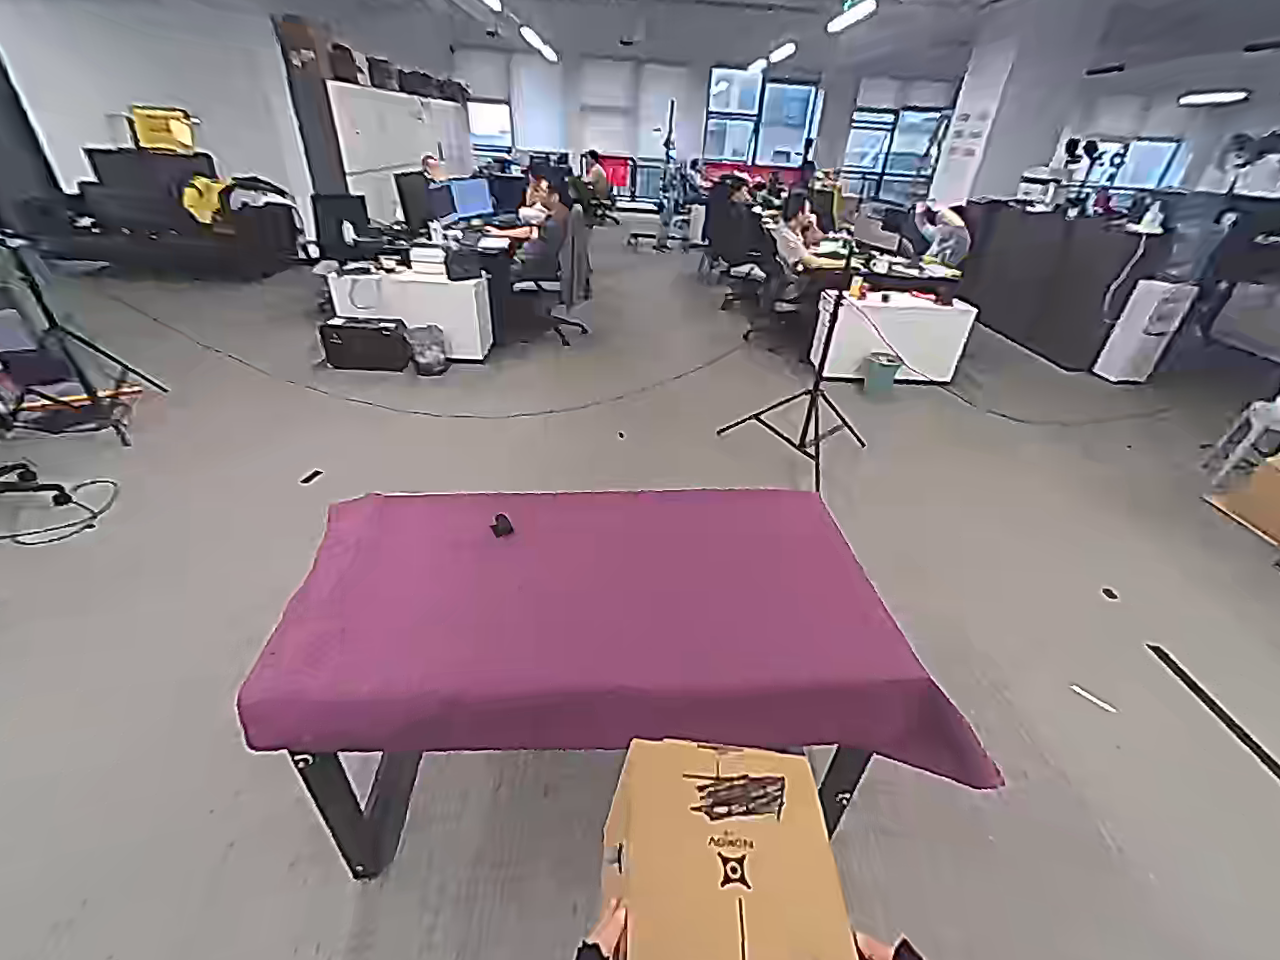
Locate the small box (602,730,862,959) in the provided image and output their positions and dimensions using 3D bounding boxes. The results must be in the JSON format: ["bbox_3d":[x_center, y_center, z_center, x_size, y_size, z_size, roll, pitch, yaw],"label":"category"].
[{"bbox_3d":[0.060,0.349,0.462,0.168,0.176,0.179,8,34,-5],"label":"small box"}]
